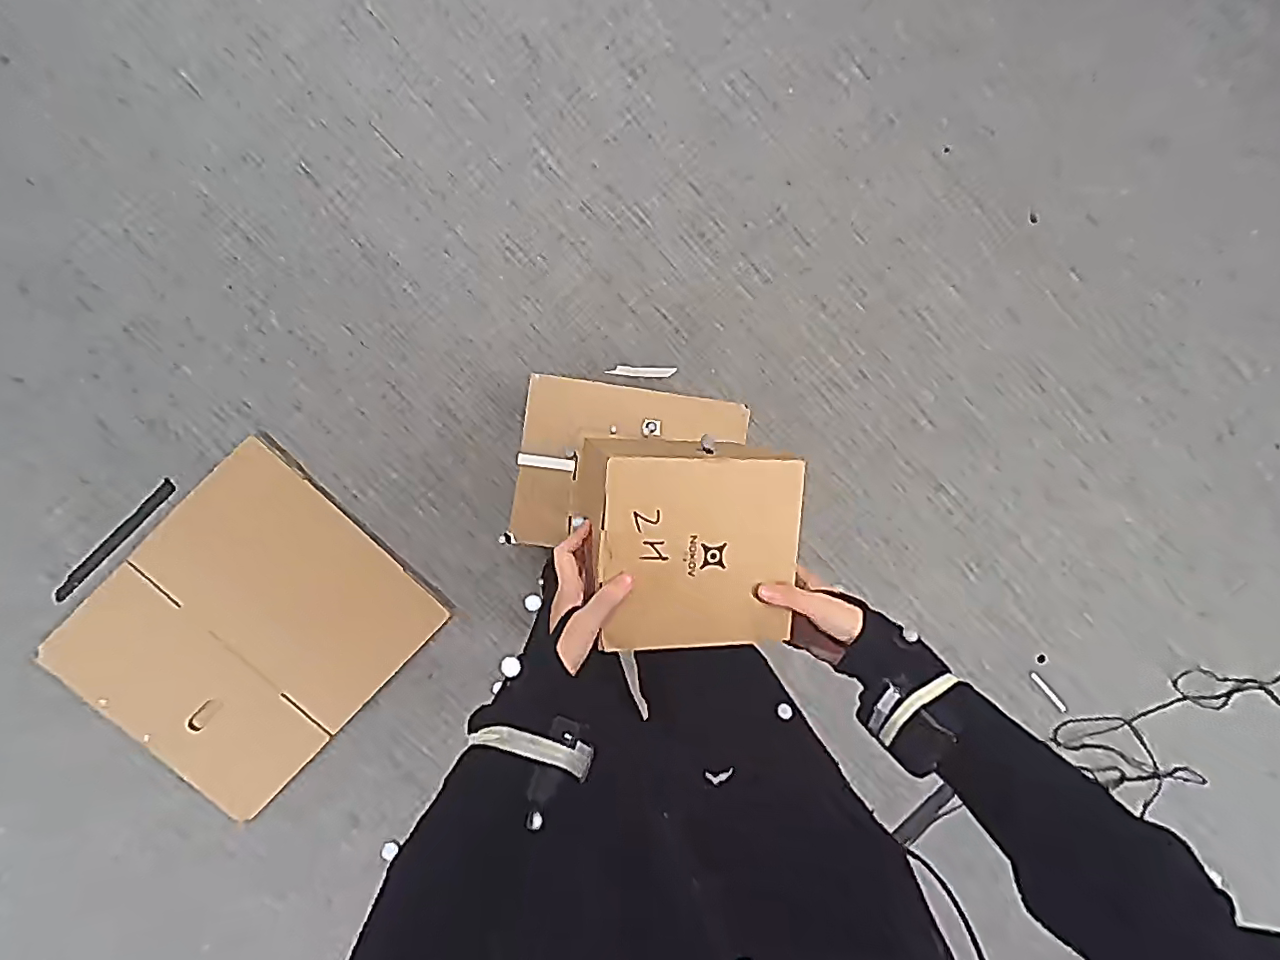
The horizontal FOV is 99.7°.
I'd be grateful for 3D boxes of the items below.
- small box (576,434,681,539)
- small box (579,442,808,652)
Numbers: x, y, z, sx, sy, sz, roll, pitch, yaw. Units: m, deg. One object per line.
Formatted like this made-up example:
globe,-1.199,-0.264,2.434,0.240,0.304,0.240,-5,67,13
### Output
small box,-0.009,0.015,0.903,0.179,0.176,0.168,5,94,-6
small box,0.039,0.052,0.533,0.179,0.176,0.168,1,98,-12
